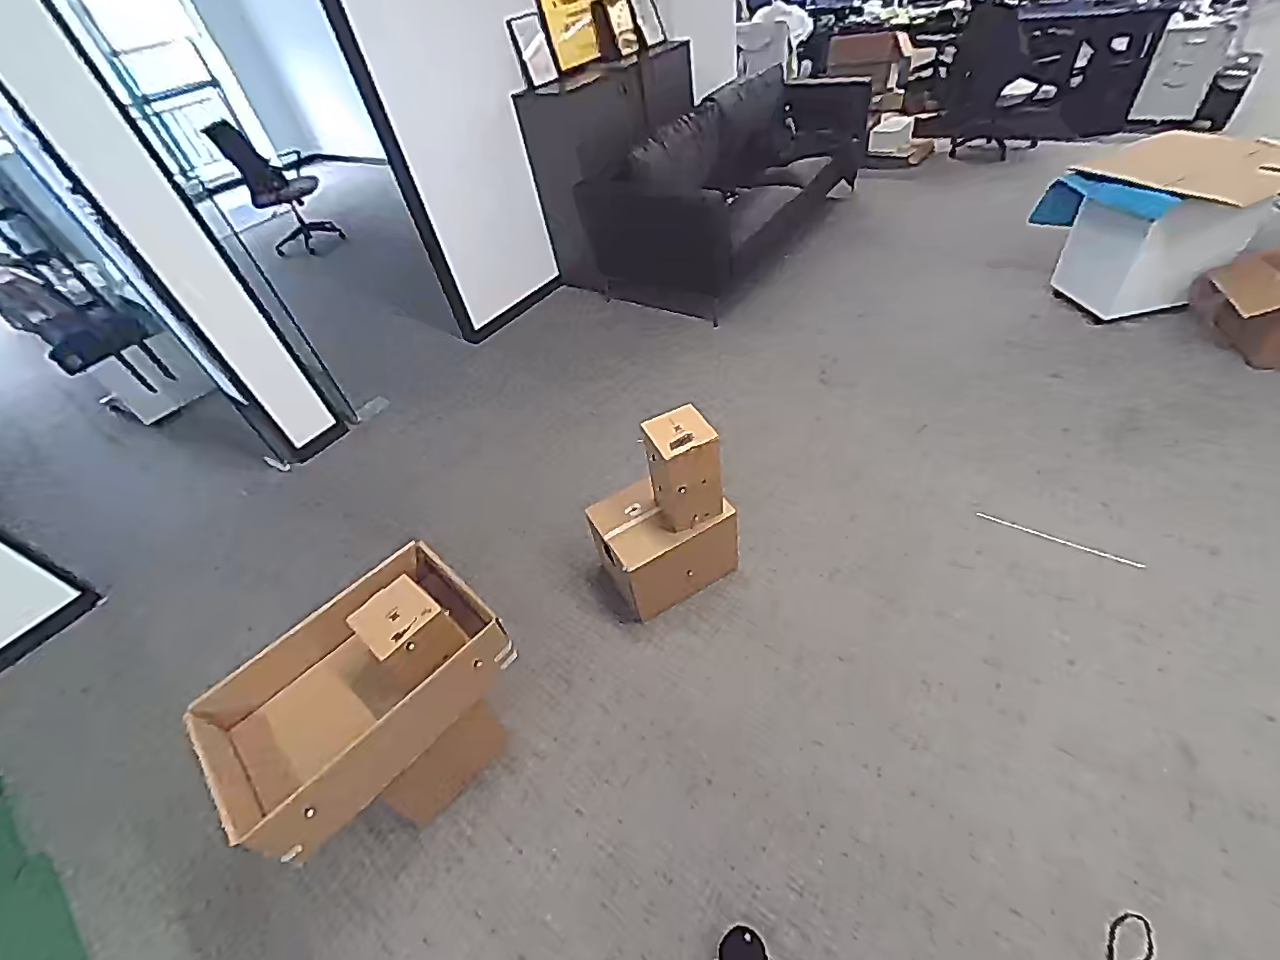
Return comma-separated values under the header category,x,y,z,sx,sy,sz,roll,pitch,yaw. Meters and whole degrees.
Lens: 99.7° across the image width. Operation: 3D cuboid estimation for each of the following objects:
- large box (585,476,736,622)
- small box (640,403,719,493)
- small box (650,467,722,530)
category,x,y,z,sx,sy,sz,roll,pitch,yaw
large box,0.080,0.207,1.856,0.408,0.320,0.320,-28,47,-15
small box,0.118,-0.084,1.557,0.168,0.176,0.179,-23,47,-10
small box,0.141,0.022,1.679,0.168,0.176,0.179,-23,48,-10
